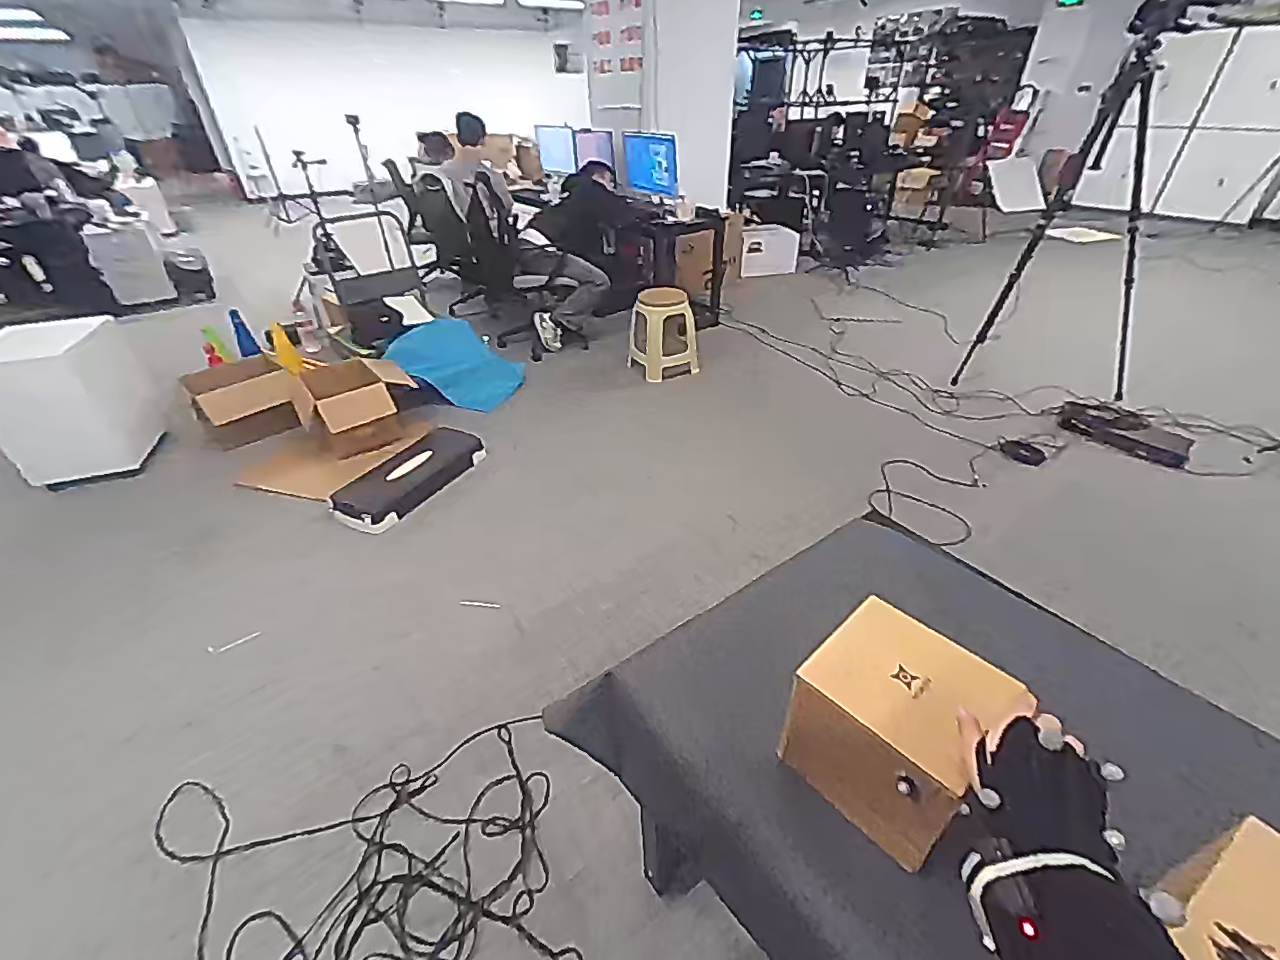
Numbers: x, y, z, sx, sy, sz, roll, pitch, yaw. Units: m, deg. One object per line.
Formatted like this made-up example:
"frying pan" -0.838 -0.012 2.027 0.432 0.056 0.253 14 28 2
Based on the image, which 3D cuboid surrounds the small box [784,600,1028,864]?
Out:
"small box" 0.286 0.279 0.614 0.168 0.176 0.179 -28 44 -33
